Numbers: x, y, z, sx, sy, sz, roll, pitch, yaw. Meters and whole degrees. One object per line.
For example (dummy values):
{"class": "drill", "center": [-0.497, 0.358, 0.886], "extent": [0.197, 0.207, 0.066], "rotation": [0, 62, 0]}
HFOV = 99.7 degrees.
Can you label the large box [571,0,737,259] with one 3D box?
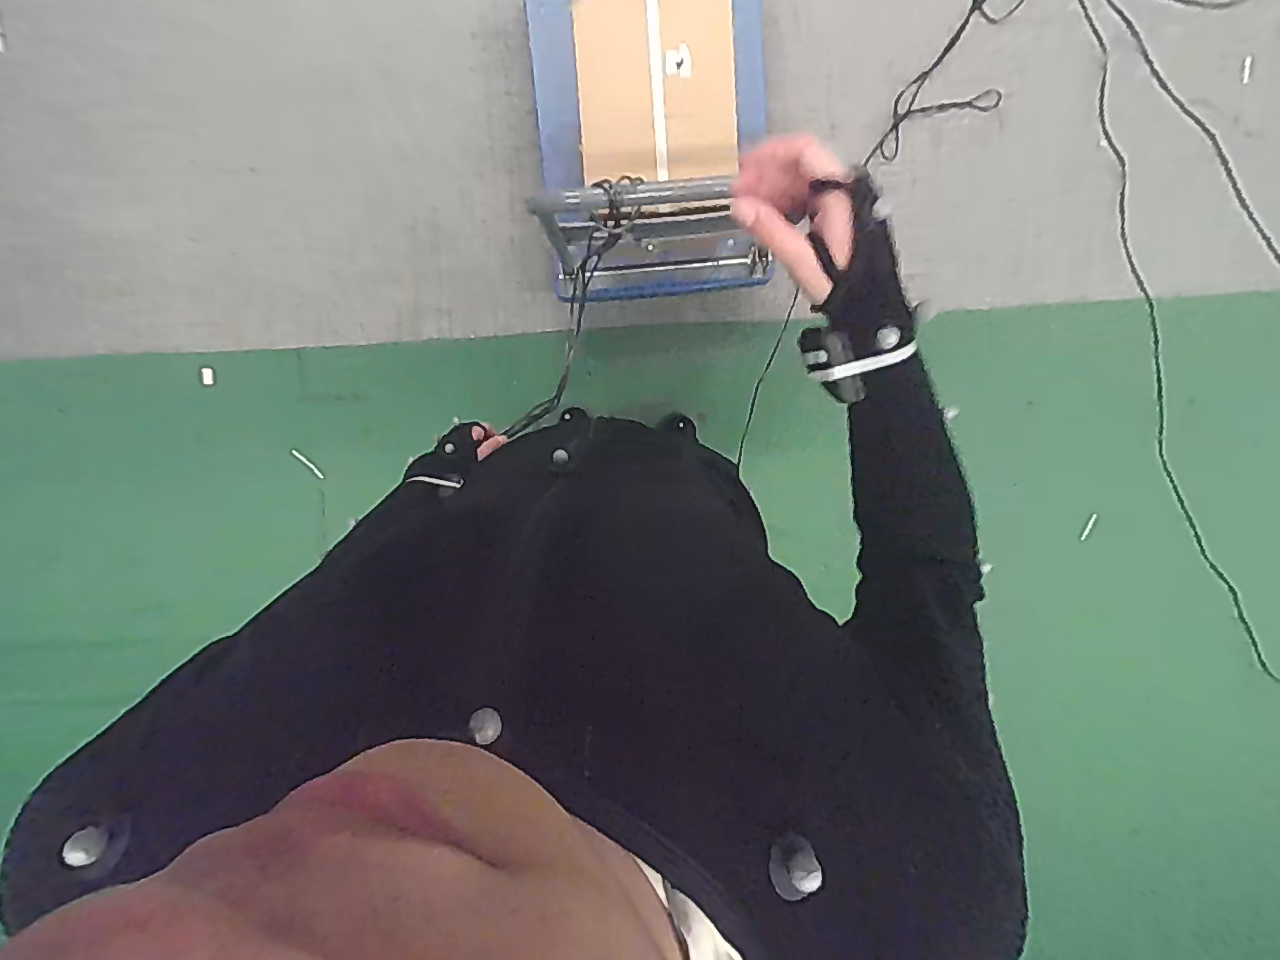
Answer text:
{"class": "large box", "center": [0.030, -0.762, 1.231], "extent": [0.320, 0.320, 0.408], "rotation": [-4, 96, -1]}
